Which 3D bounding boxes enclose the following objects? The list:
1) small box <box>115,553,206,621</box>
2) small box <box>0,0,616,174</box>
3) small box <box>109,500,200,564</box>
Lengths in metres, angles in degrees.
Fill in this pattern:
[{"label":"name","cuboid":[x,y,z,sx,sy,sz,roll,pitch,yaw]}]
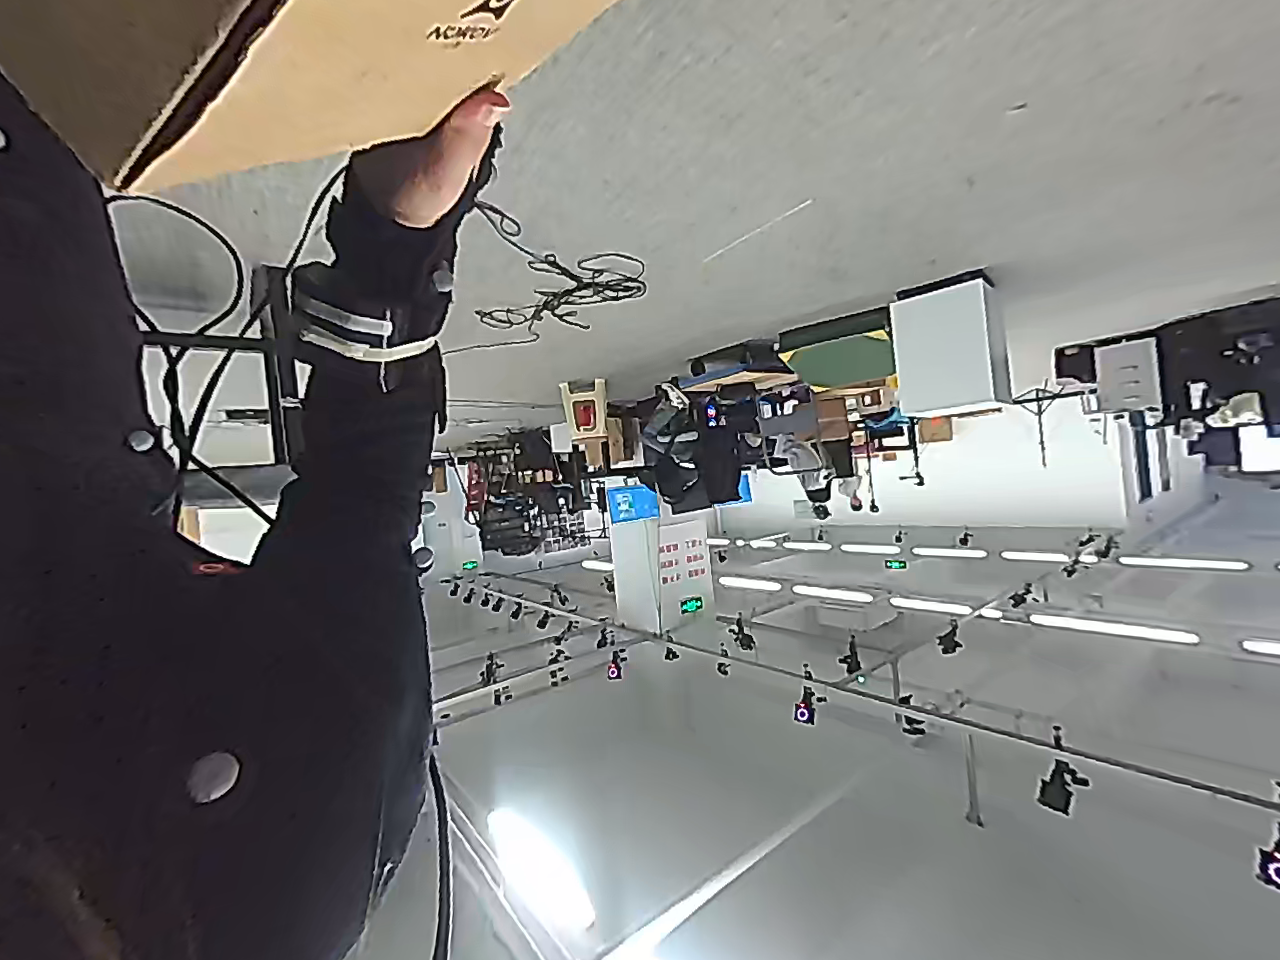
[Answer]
[{"label":"small box","cuboid":[-1.444,0.312,1.634,0.179,0.176,0.168,-5,179,-32]},{"label":"small box","cuboid":[-0.085,-0.212,0.131,0.179,0.176,0.168,-12,-148,31]},{"label":"small box","cuboid":[-1.448,0.149,1.621,0.168,0.176,0.179,-6,-179,-28]}]
